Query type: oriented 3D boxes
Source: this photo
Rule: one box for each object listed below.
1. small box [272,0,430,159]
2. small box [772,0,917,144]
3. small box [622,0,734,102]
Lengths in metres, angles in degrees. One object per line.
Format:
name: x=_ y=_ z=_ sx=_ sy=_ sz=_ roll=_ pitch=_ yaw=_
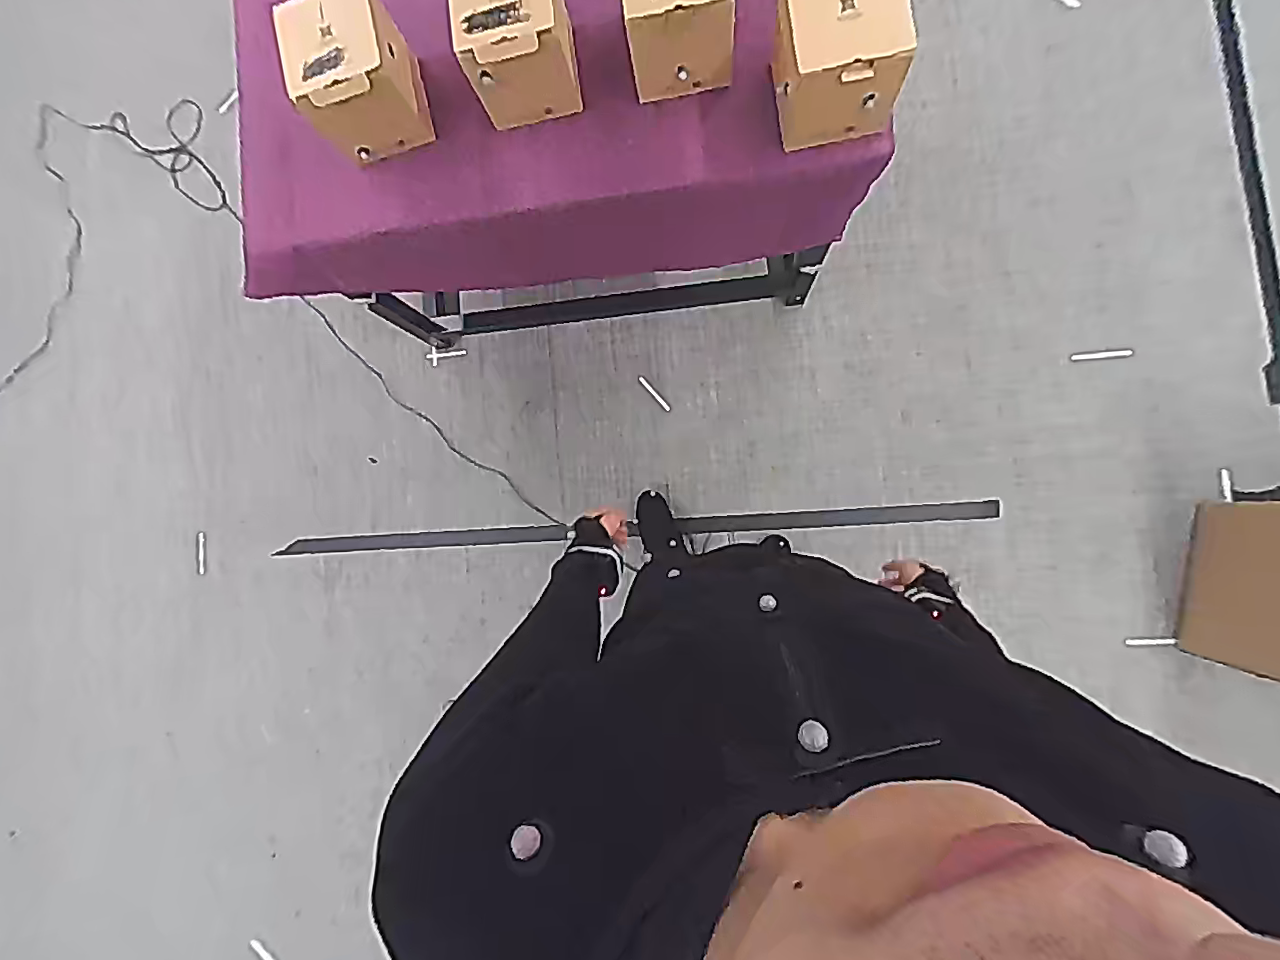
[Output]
small box: x=-0.491 y=-0.699 z=0.944 sx=0.168 sy=0.176 sz=0.179 roll=-15 pitch=84 yaw=6
small box: x=0.306 y=-0.660 z=0.841 sx=0.168 sy=0.176 sz=0.179 roll=-7 pitch=85 yaw=7
small box: x=0.059 y=-0.768 z=0.878 sx=0.168 sy=0.176 sz=0.179 roll=-6 pitch=86 yaw=7
